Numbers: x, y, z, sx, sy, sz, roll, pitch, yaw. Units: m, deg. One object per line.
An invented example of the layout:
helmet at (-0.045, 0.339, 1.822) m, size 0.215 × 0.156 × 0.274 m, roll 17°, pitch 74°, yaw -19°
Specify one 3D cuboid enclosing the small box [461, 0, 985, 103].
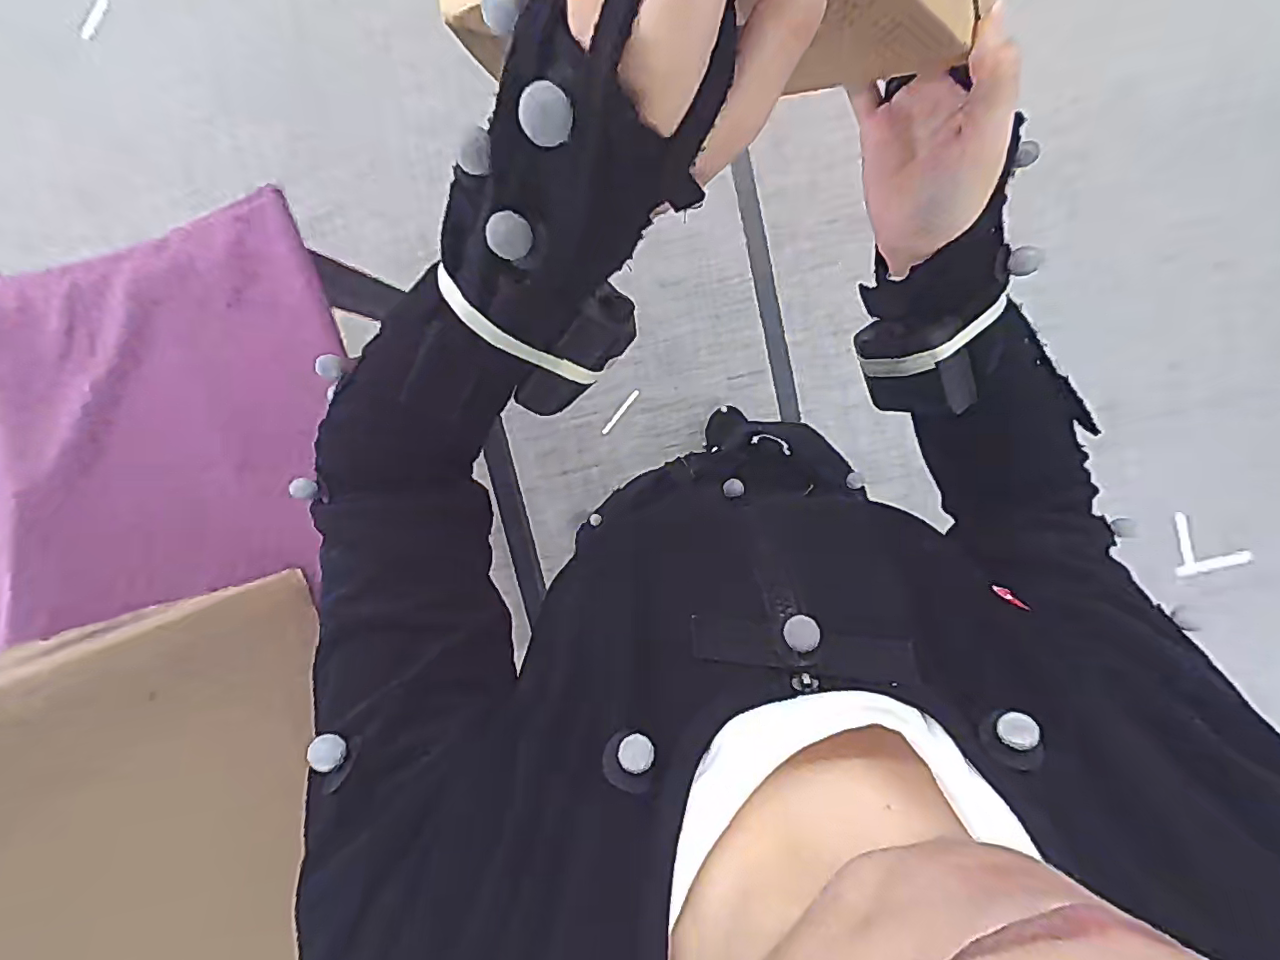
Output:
small box at (0.044, -0.272, 0.214) m, size 0.176 × 0.179 × 0.168 m, roll 23°, pitch 119°, yaw 39°
